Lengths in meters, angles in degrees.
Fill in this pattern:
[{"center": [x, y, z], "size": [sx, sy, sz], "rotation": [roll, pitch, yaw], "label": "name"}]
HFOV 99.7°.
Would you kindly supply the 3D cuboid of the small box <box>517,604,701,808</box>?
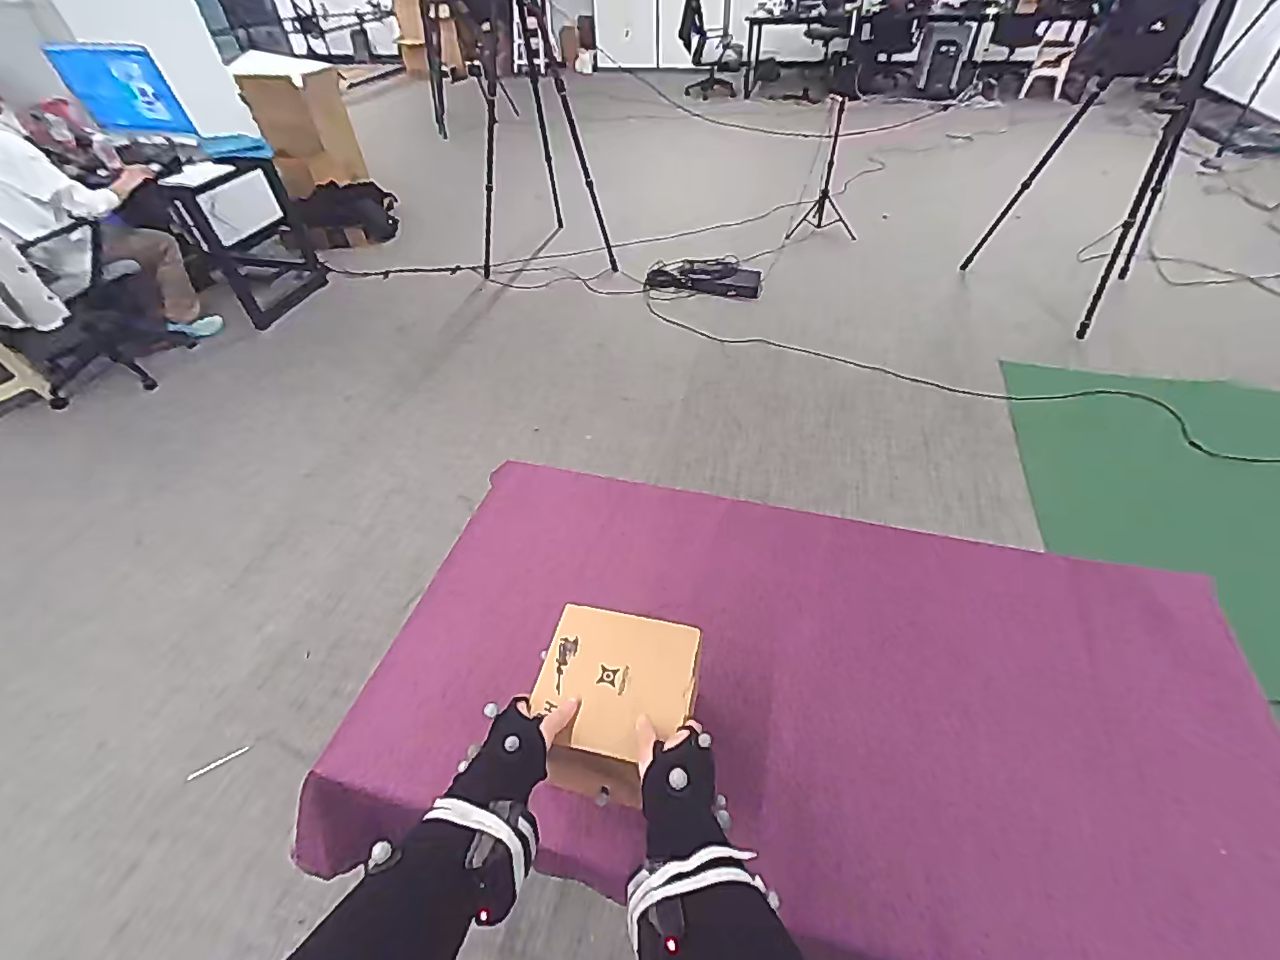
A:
[{"center": [-0.029, 0.283, 0.672], "size": [0.179, 0.176, 0.168], "rotation": [9, 46, 10], "label": "small box"}]
